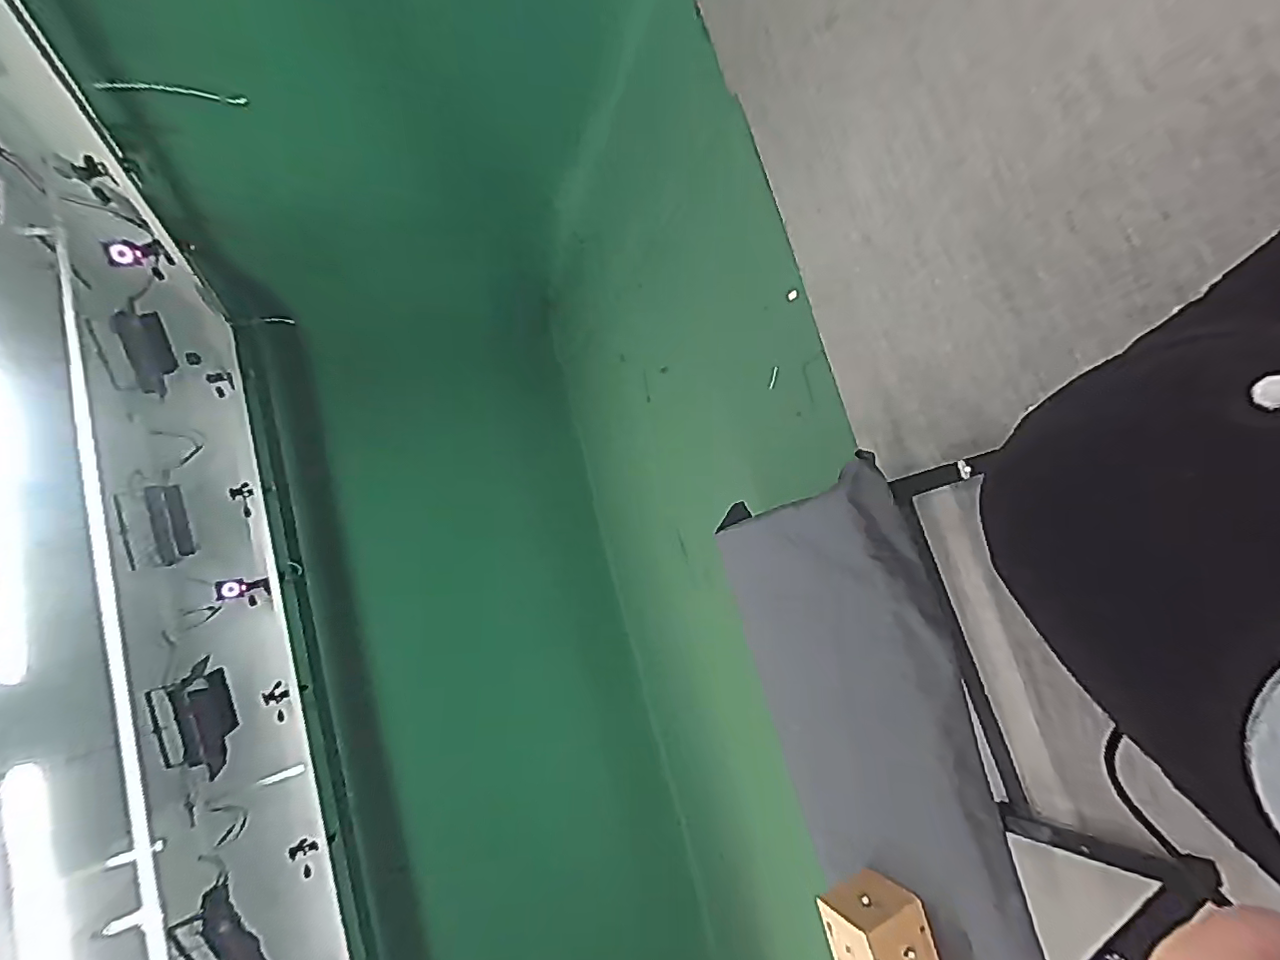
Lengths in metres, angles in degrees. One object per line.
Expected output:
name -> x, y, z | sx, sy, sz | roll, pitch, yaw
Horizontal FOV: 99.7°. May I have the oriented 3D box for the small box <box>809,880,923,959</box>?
small box -> 0.537, 1.090, 1.268 | 0.179, 0.176, 0.168 | -31, 72, 64
